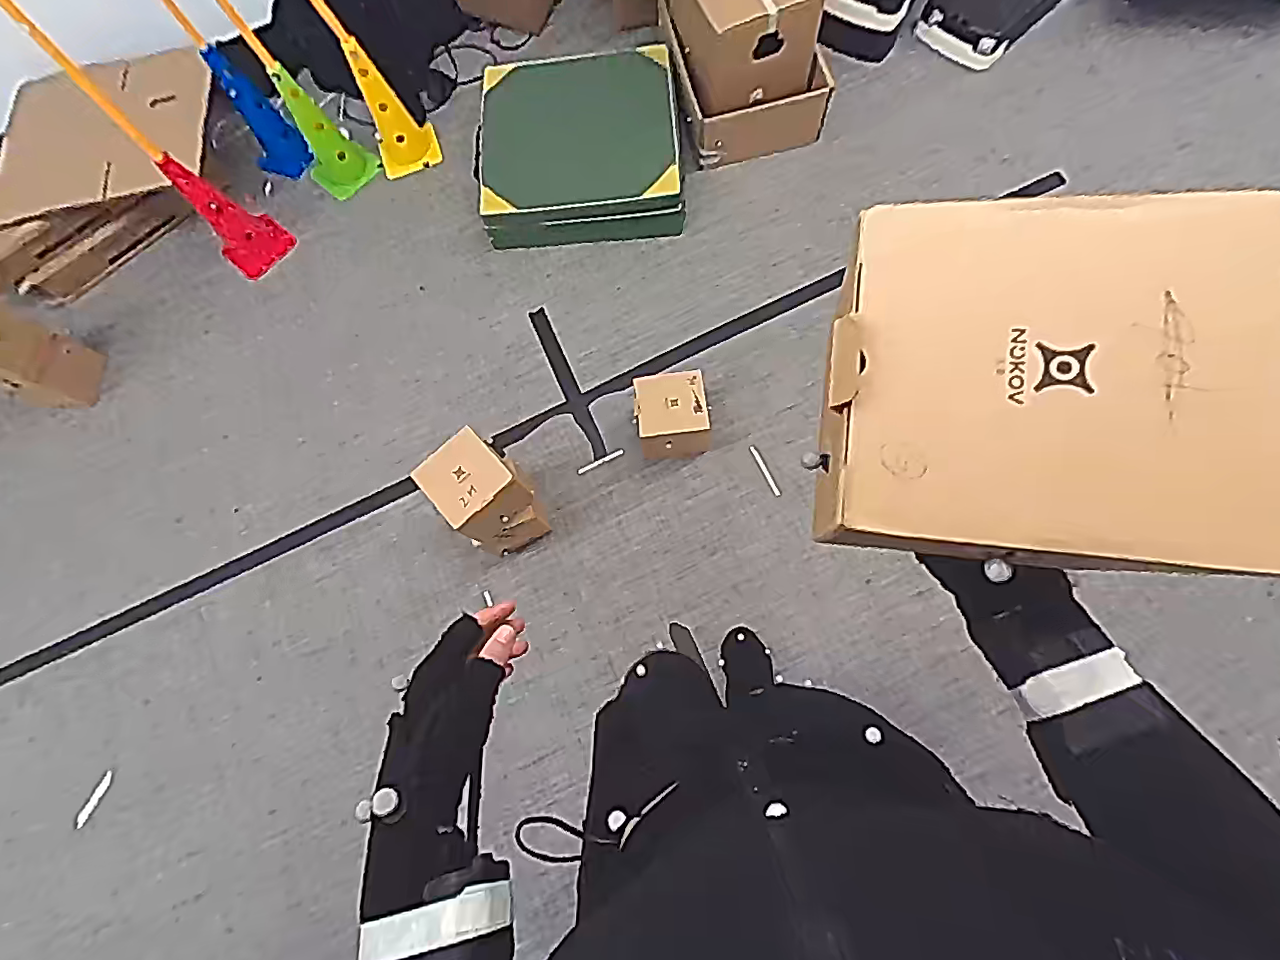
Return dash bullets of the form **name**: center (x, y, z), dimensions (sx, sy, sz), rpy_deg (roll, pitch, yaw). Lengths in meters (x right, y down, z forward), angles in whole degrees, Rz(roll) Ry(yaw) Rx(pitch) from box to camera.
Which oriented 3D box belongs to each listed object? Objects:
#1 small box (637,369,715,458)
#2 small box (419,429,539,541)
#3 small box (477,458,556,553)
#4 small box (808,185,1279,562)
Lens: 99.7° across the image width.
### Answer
- **small box**: center (0.095, -0.167, 1.420), dimensions (0.179, 0.176, 0.168), rpy_deg (-10, 72, 2)
- **small box**: center (-0.361, 0.020, 1.238), dimensions (0.168, 0.176, 0.179), rpy_deg (-40, 76, -5)
- **small box**: center (-0.335, 0.075, 1.391), dimensions (0.168, 0.176, 0.179), rpy_deg (-27, 72, -2)
- **small box**: center (0.198, -0.043, 0.321), dimensions (0.179, 0.176, 0.168), rpy_deg (5, 84, 14)
